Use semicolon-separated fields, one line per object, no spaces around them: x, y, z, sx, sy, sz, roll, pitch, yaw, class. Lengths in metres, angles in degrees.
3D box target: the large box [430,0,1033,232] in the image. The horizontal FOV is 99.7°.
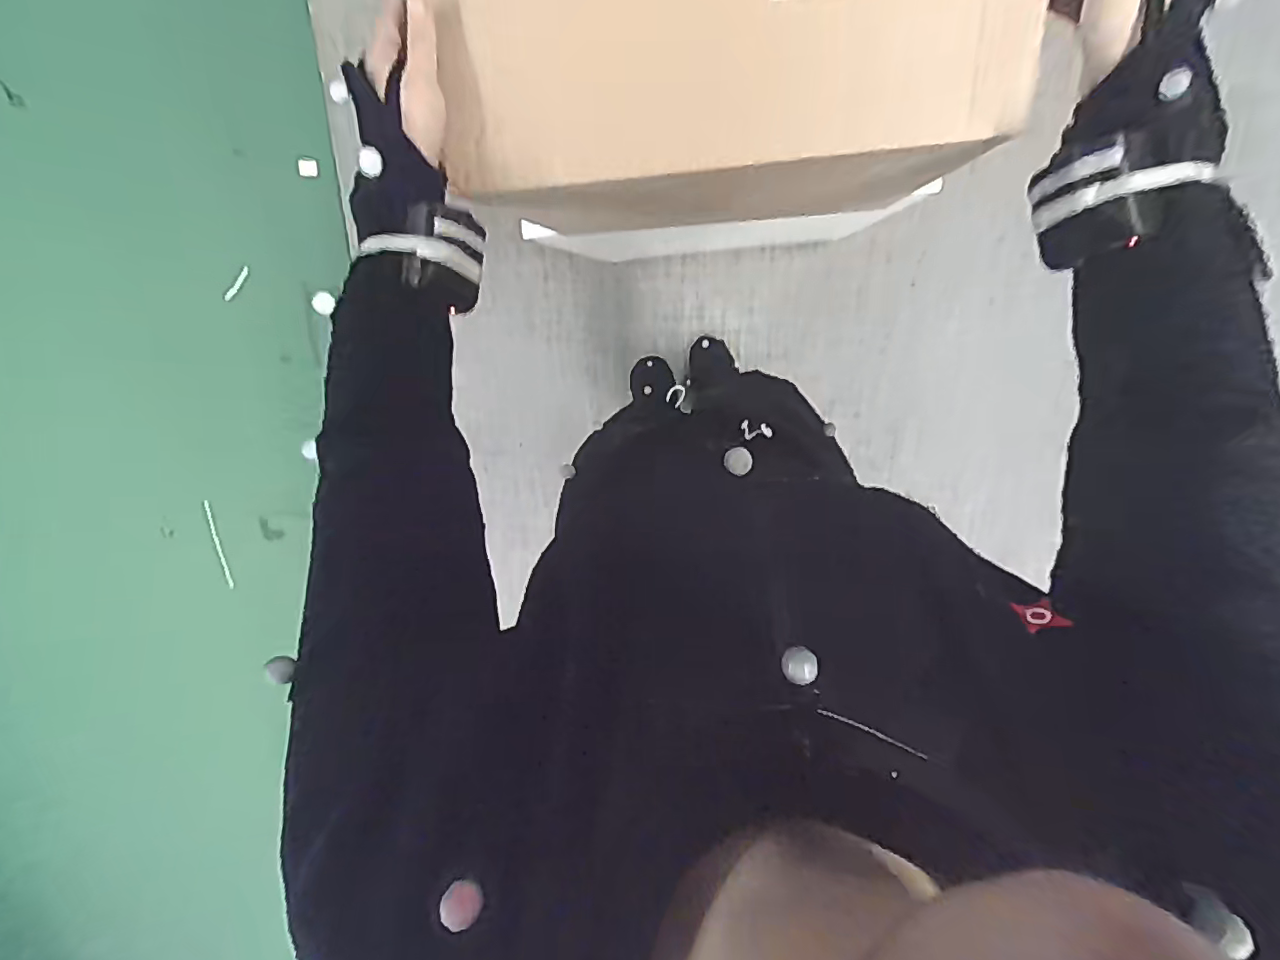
0.062;-0.425;0.481;0.408;0.320;0.320;-2;109;8;large box
